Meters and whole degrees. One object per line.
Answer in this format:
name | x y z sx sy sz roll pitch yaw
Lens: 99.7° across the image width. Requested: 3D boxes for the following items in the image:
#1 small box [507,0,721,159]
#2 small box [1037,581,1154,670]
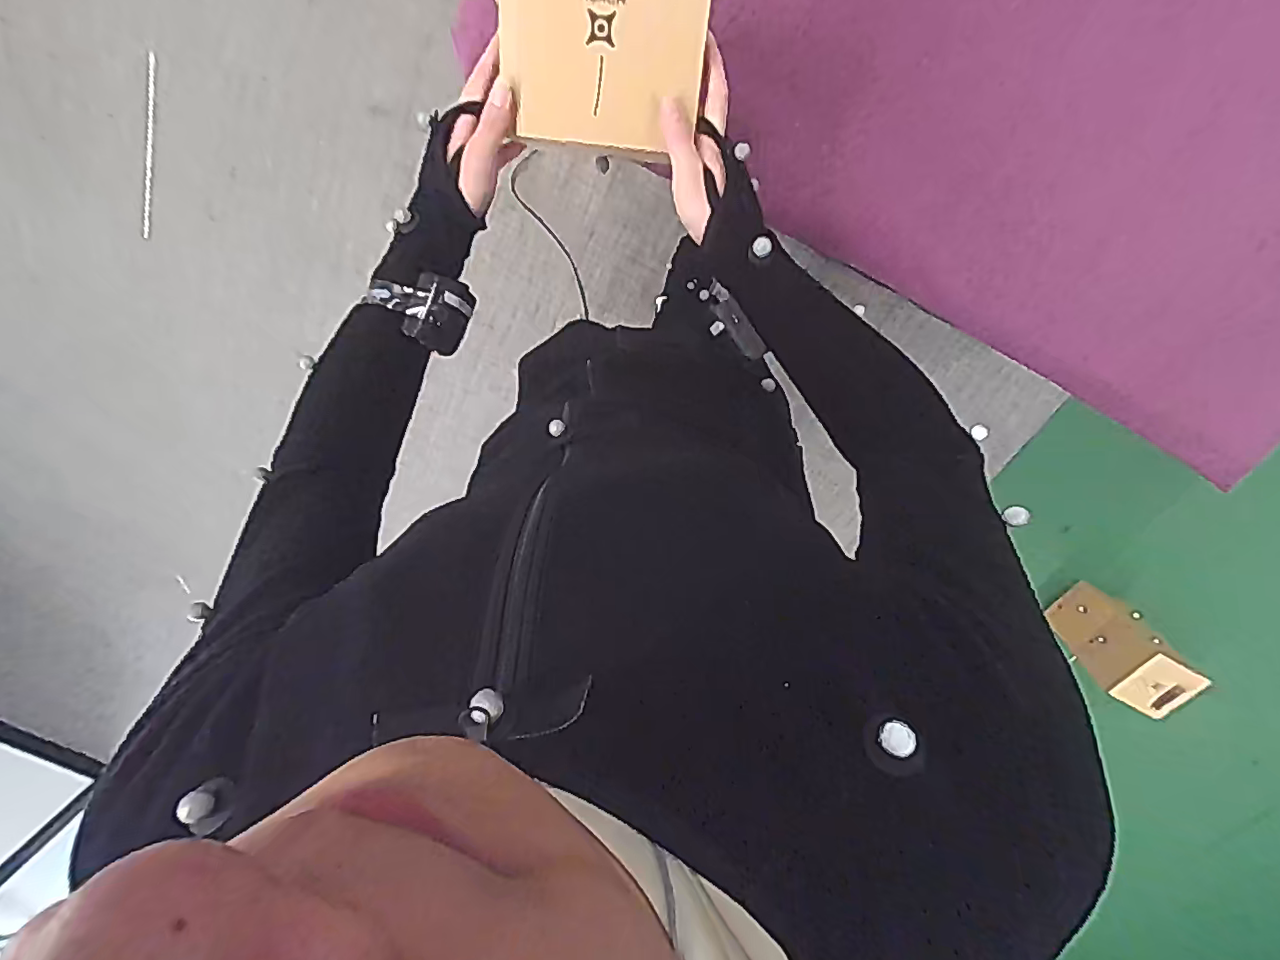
small box | -0.019 -0.402 0.484 0.168 0.176 0.179 6 118 -1
small box | 1.377 0.435 1.650 0.179 0.176 0.168 27 115 -7
